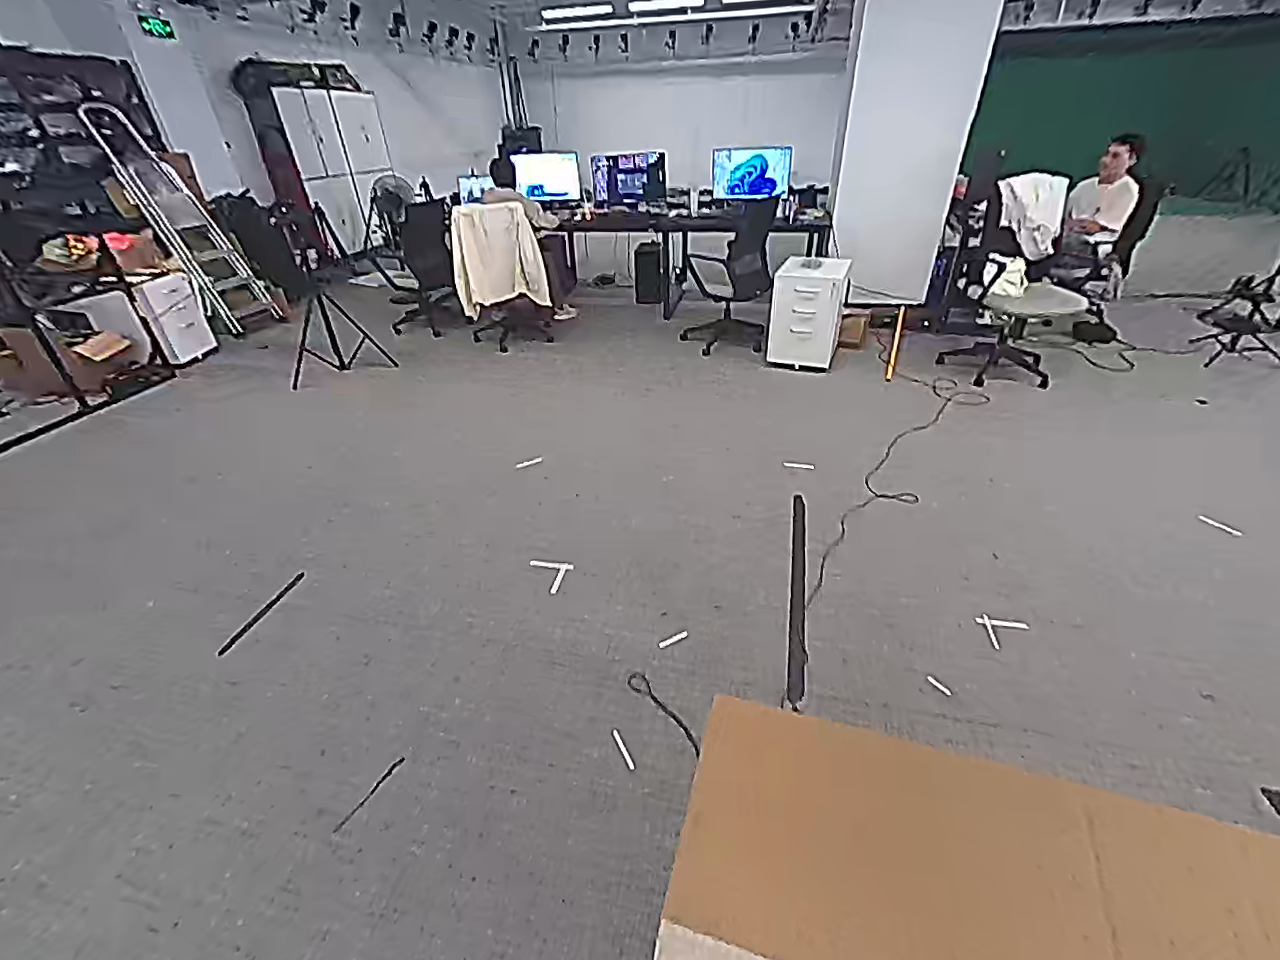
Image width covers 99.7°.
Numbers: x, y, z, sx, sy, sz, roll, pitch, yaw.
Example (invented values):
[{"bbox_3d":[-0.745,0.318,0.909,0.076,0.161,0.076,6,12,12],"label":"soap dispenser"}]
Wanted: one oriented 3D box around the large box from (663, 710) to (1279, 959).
[{"bbox_3d":[0.224,0.413,0.376,0.408,0.320,0.320,7,48,19],"label":"large box"}]
